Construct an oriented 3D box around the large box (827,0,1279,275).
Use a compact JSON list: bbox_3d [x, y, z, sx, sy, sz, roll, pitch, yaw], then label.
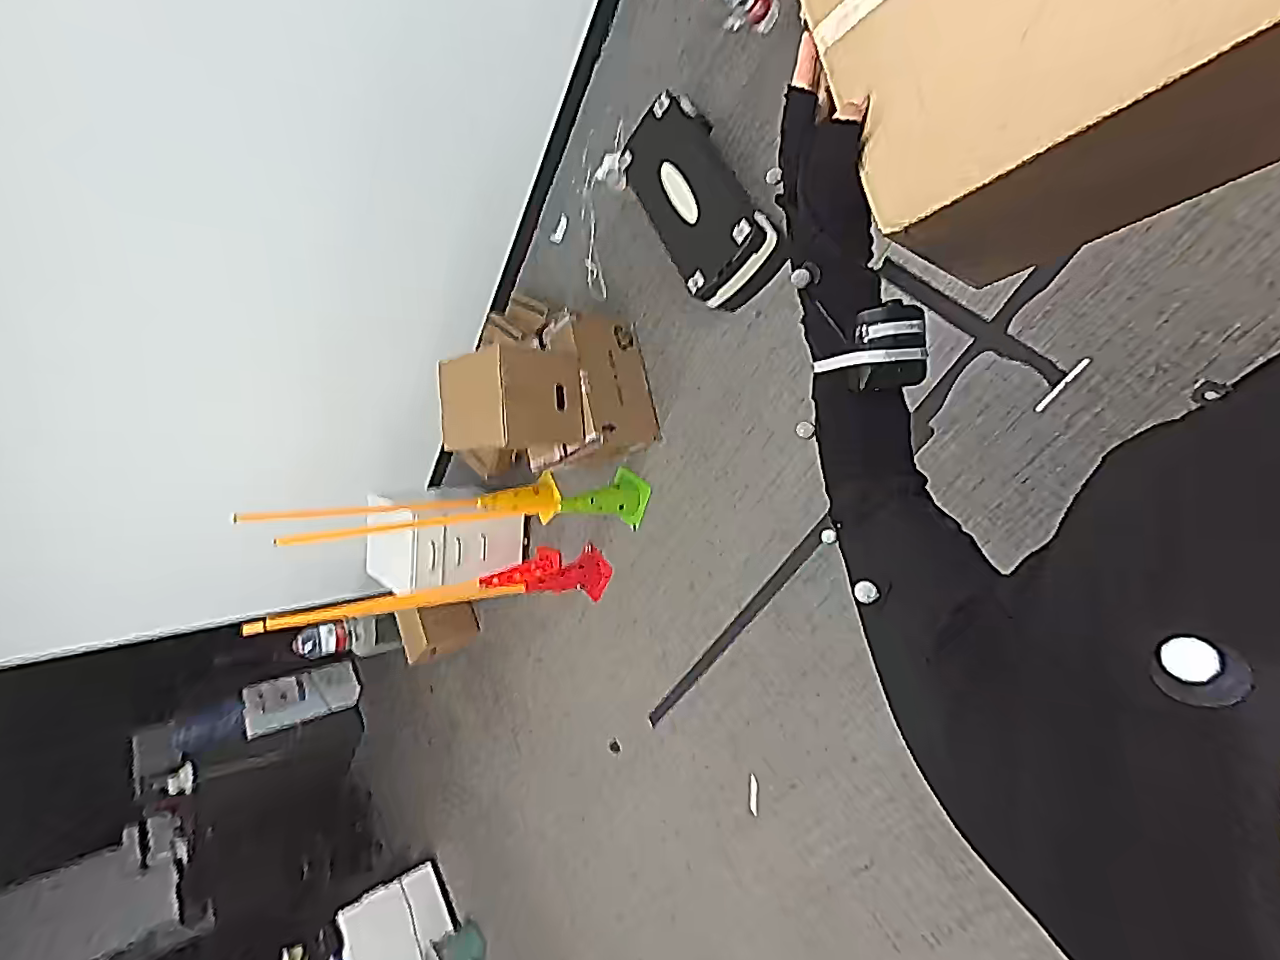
[{"bbox_3d":[0.379,-0.400,0.374,0.408,0.320,0.320,-18,85,42],"label":"large box"}]
